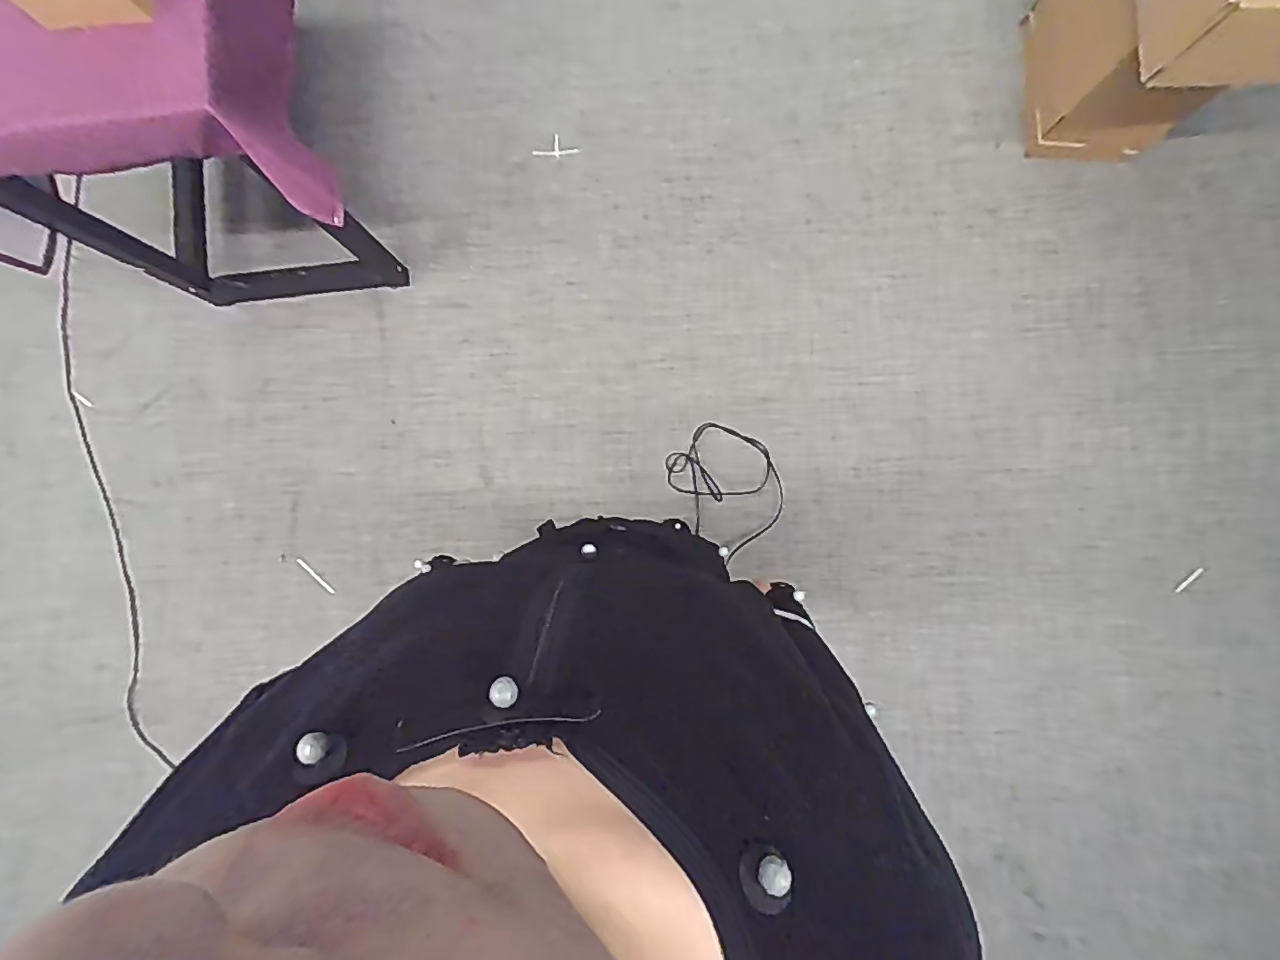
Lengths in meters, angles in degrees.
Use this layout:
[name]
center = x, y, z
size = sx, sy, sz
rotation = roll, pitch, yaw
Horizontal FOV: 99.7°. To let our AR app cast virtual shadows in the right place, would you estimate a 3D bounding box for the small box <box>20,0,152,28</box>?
[small box]
center = -0.850, -0.802, 0.780
size = 0.179, 0.176, 0.168
rotation = -2, 86, 2
